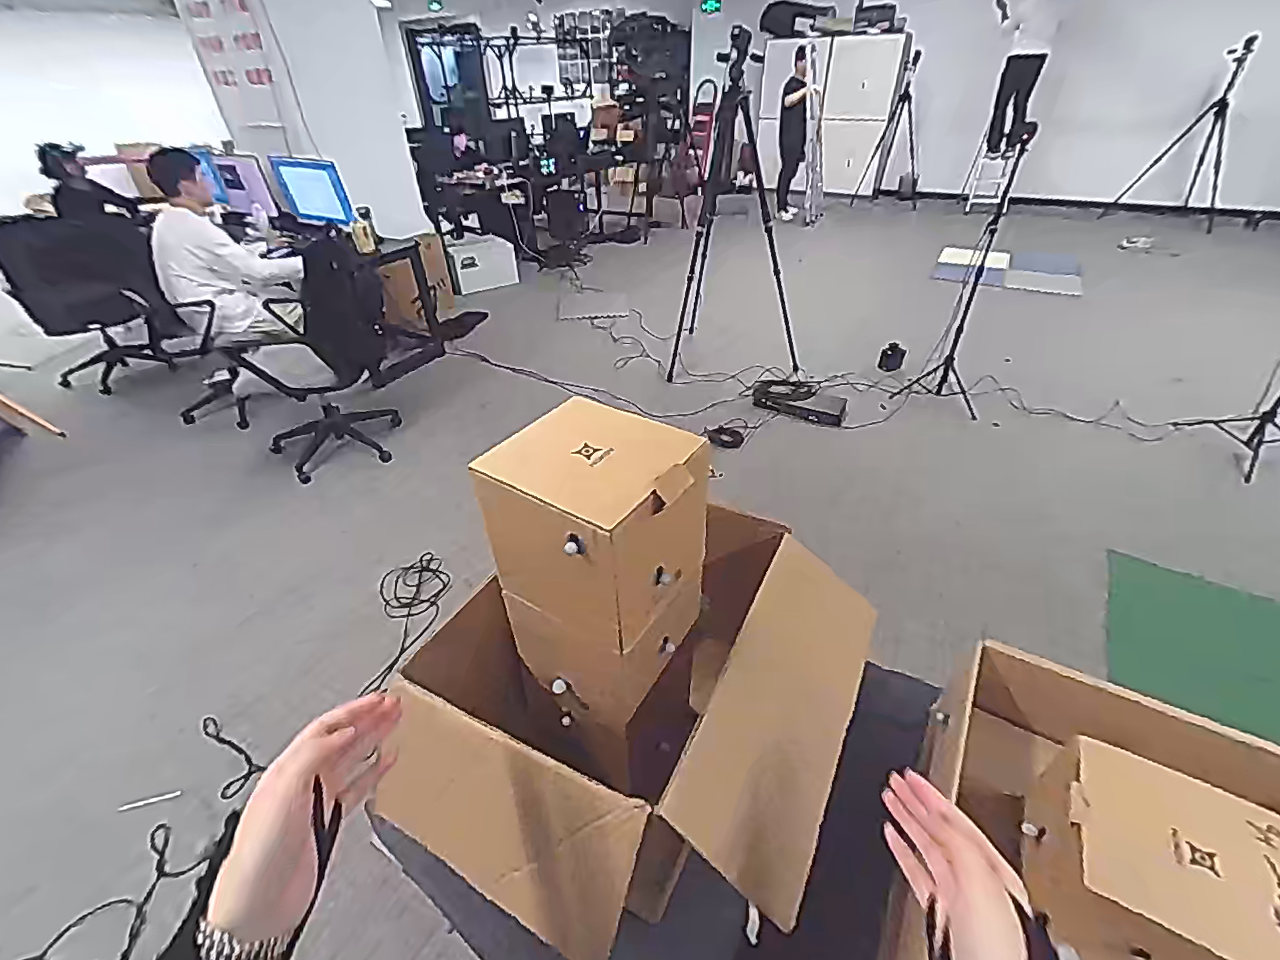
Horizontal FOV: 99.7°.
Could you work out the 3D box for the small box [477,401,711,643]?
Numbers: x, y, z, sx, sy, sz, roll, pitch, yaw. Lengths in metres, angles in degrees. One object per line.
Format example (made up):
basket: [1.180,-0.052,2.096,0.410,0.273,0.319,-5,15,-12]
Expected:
small box: [-0.042,0.041,0.580,0.179,0.176,0.168,22,43,27]

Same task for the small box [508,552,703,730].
small box: [-0.037,0.168,0.679,0.168,0.176,0.179,21,45,26]
